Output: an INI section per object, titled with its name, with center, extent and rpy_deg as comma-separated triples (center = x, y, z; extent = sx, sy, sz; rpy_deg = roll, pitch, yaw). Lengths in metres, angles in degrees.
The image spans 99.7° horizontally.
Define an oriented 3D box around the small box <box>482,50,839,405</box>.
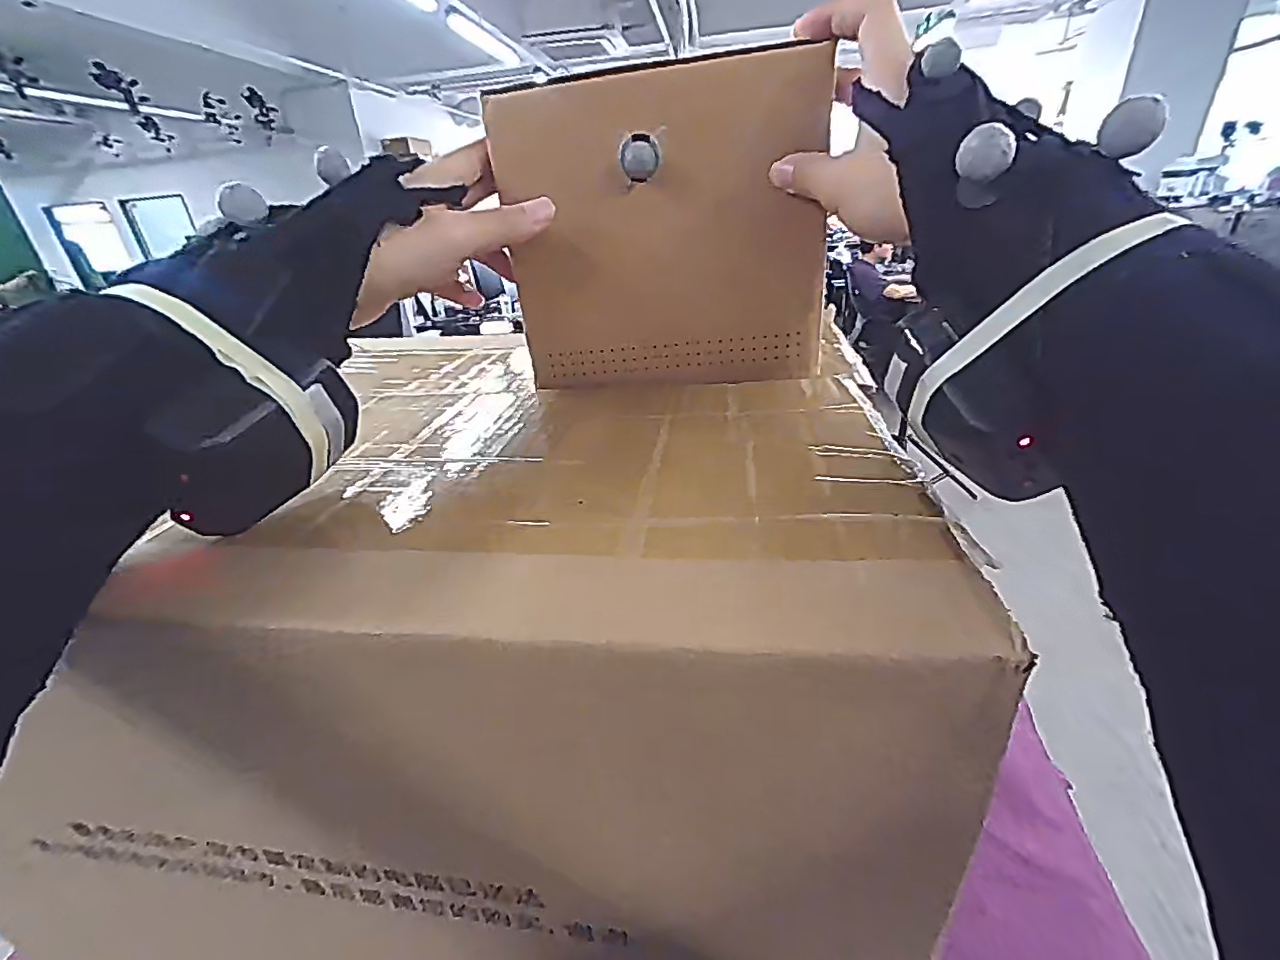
[small box]
center = 0.022, -0.160, 0.366
extent = 0.179, 0.176, 0.168
rpy_deg = -4, 28, 7
